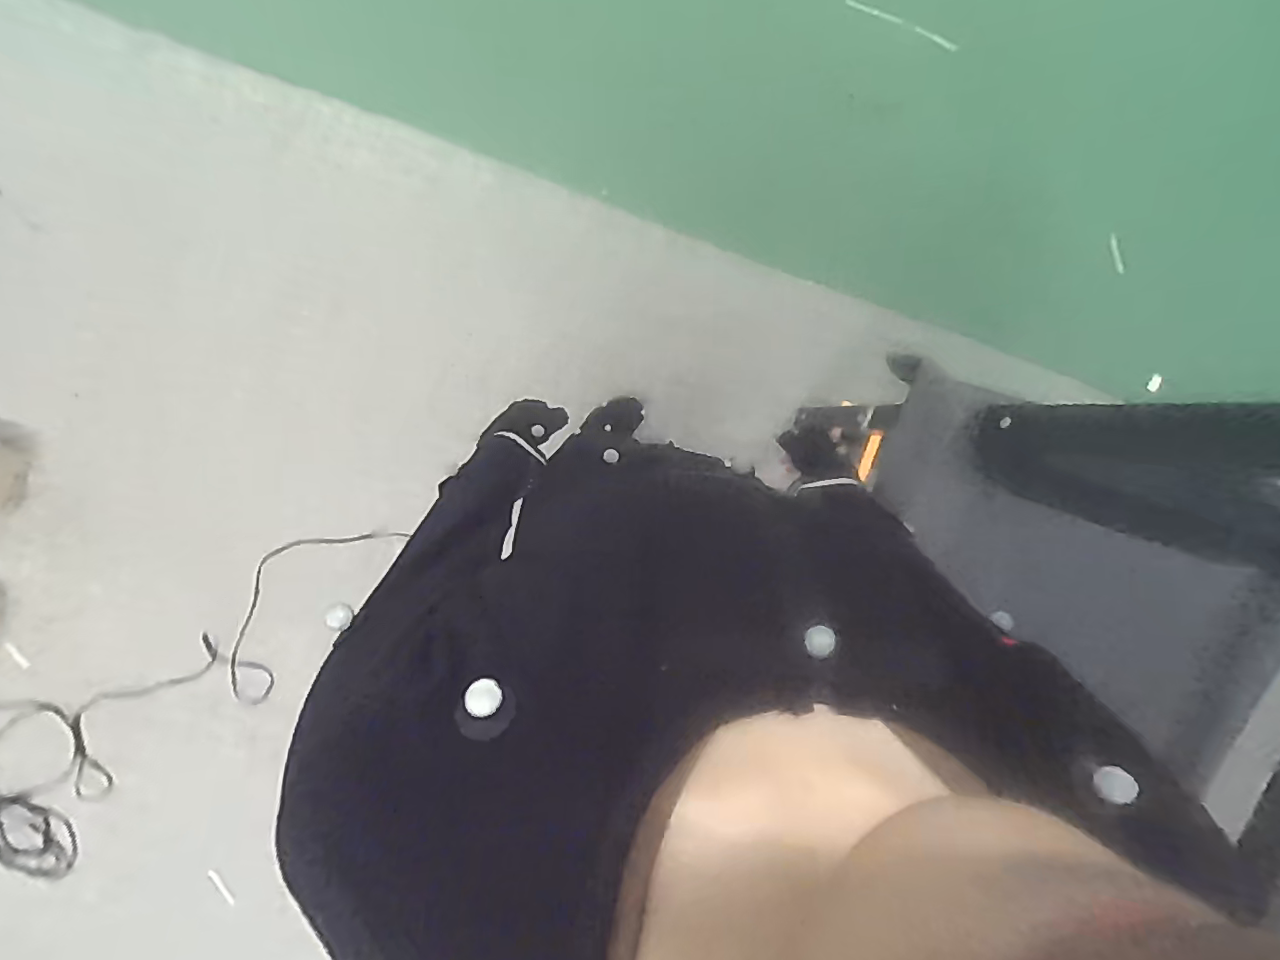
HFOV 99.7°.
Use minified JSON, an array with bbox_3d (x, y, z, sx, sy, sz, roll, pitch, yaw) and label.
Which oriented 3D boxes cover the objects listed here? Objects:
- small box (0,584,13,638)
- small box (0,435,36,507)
[{"bbox_3d":[-1.817,0.354,1.401,0.179,0.176,0.168,17,97,-4],"label":"small box"},{"bbox_3d":[-1.696,-0.028,1.352,0.179,0.176,0.168,23,97,-4],"label":"small box"}]
